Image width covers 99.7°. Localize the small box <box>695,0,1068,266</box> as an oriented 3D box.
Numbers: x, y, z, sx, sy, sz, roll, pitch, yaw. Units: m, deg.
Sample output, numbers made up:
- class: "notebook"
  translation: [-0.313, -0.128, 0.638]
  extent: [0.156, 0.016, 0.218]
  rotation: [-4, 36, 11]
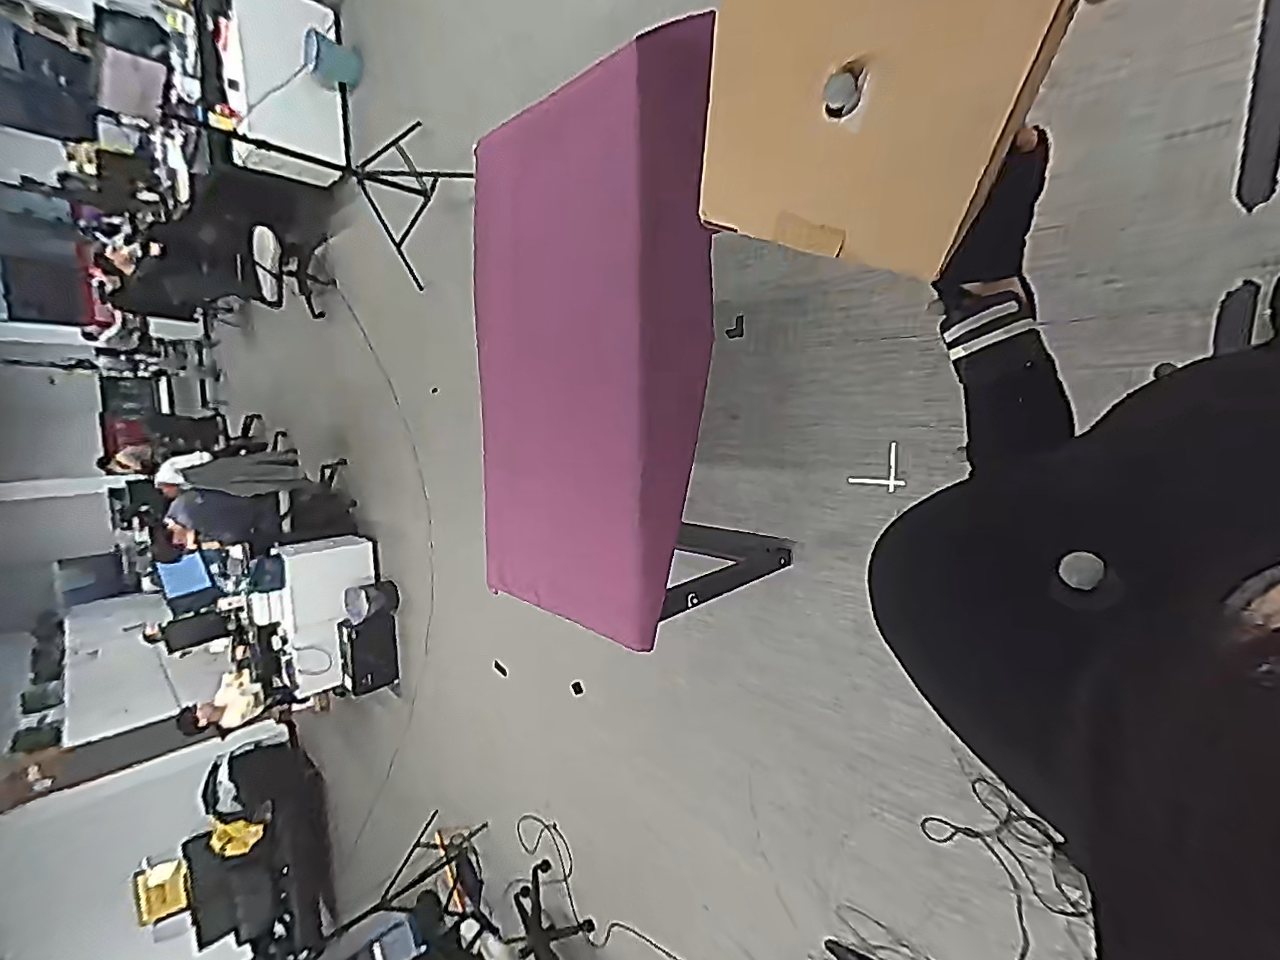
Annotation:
- class: "small box"
  translation: [0.146, -0.260, 0.324]
  extent: [0.168, 0.179, 0.176]
  rotation: [26, 144, 22]
